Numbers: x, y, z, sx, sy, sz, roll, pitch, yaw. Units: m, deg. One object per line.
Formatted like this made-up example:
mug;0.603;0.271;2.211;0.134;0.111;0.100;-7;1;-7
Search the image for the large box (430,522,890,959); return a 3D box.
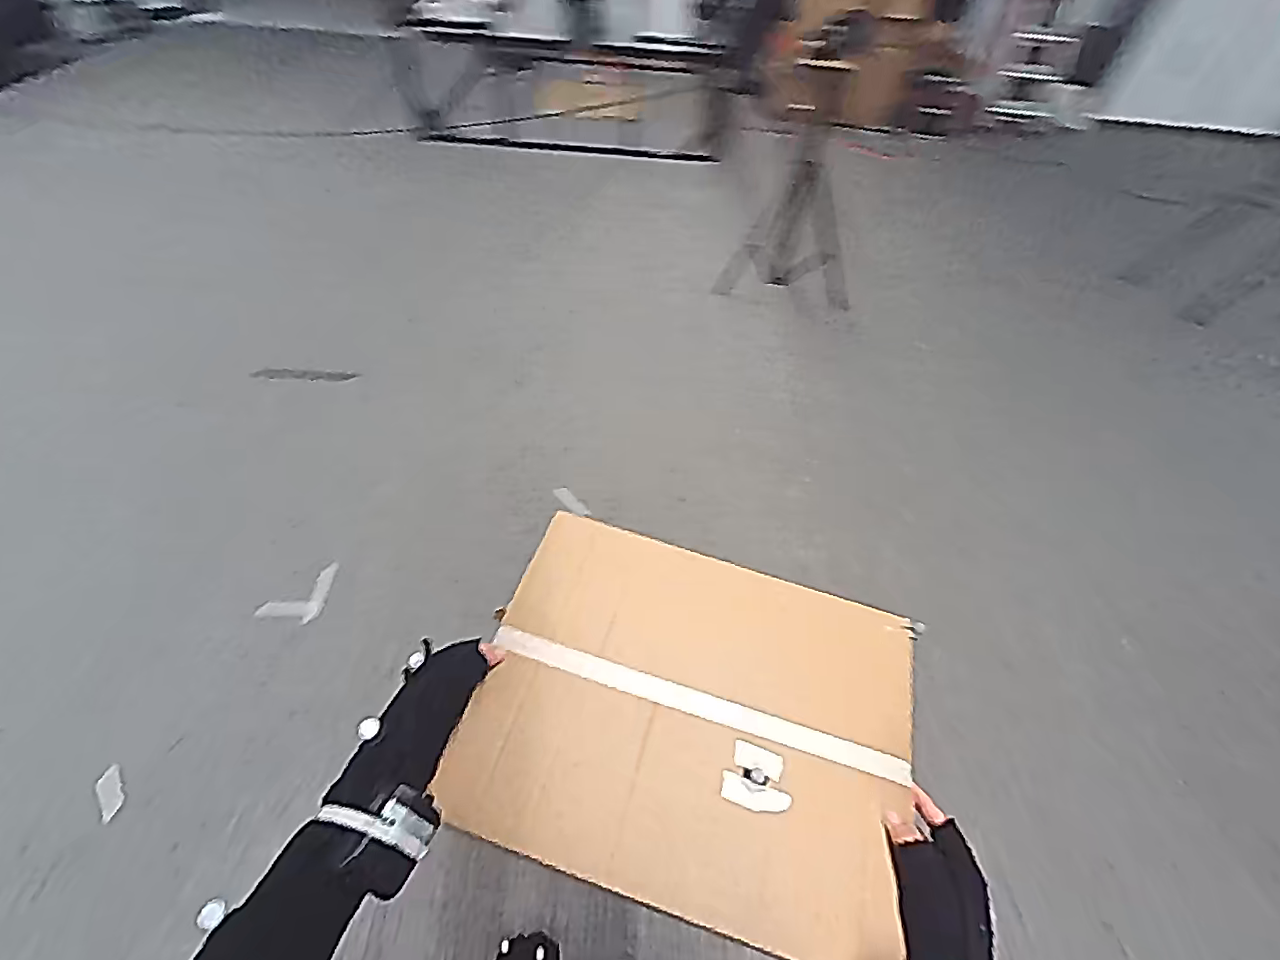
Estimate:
large box;0.032;0.302;0.653;0.408;0.320;0.320;16;55;5
